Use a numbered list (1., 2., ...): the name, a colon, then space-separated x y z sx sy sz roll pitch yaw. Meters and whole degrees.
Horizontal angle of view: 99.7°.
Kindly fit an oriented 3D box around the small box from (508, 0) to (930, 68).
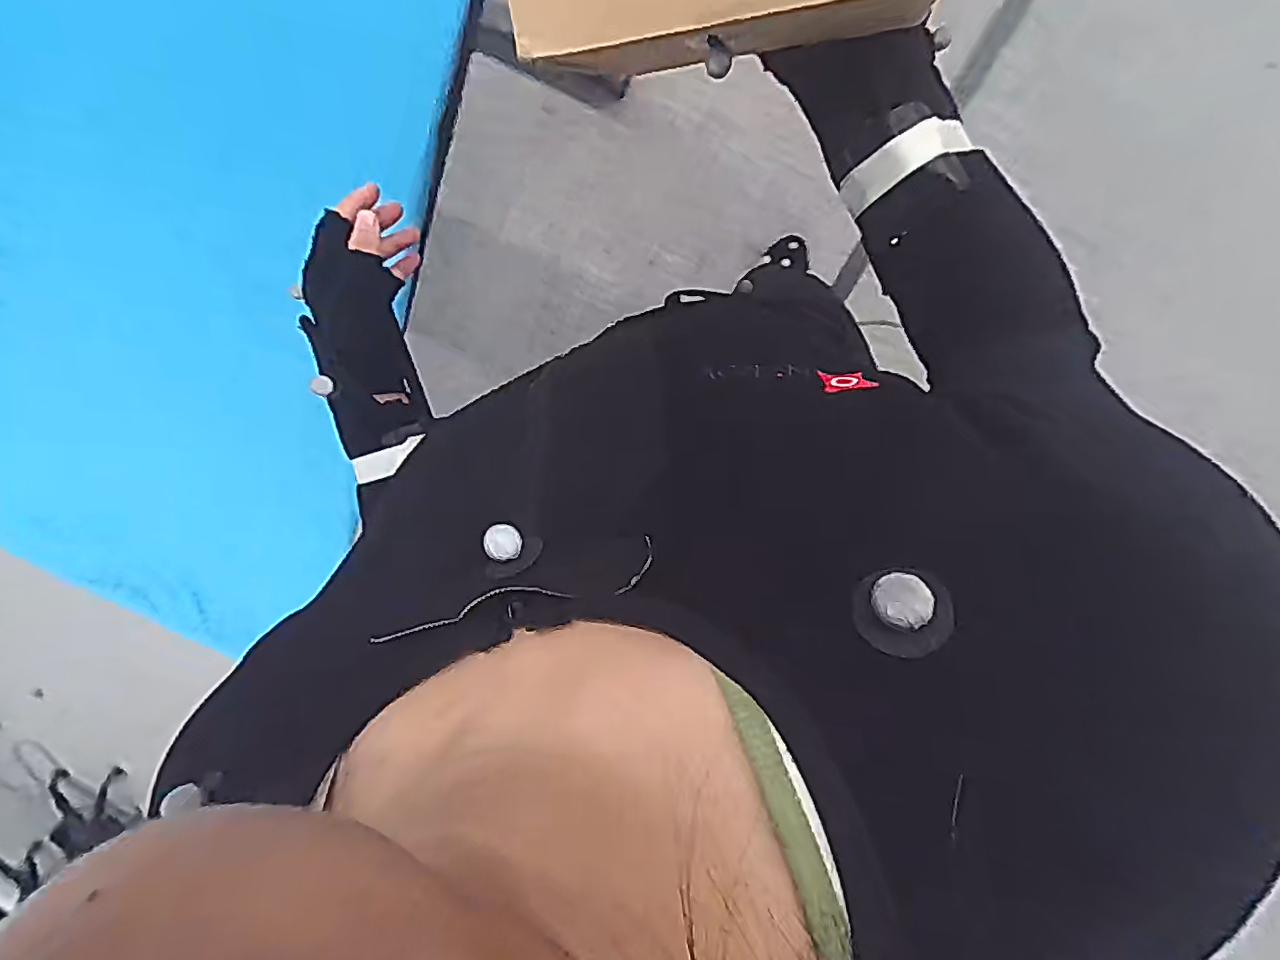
1. small box: 0.047 -0.288 0.228 0.179 0.176 0.168 7 126 19
